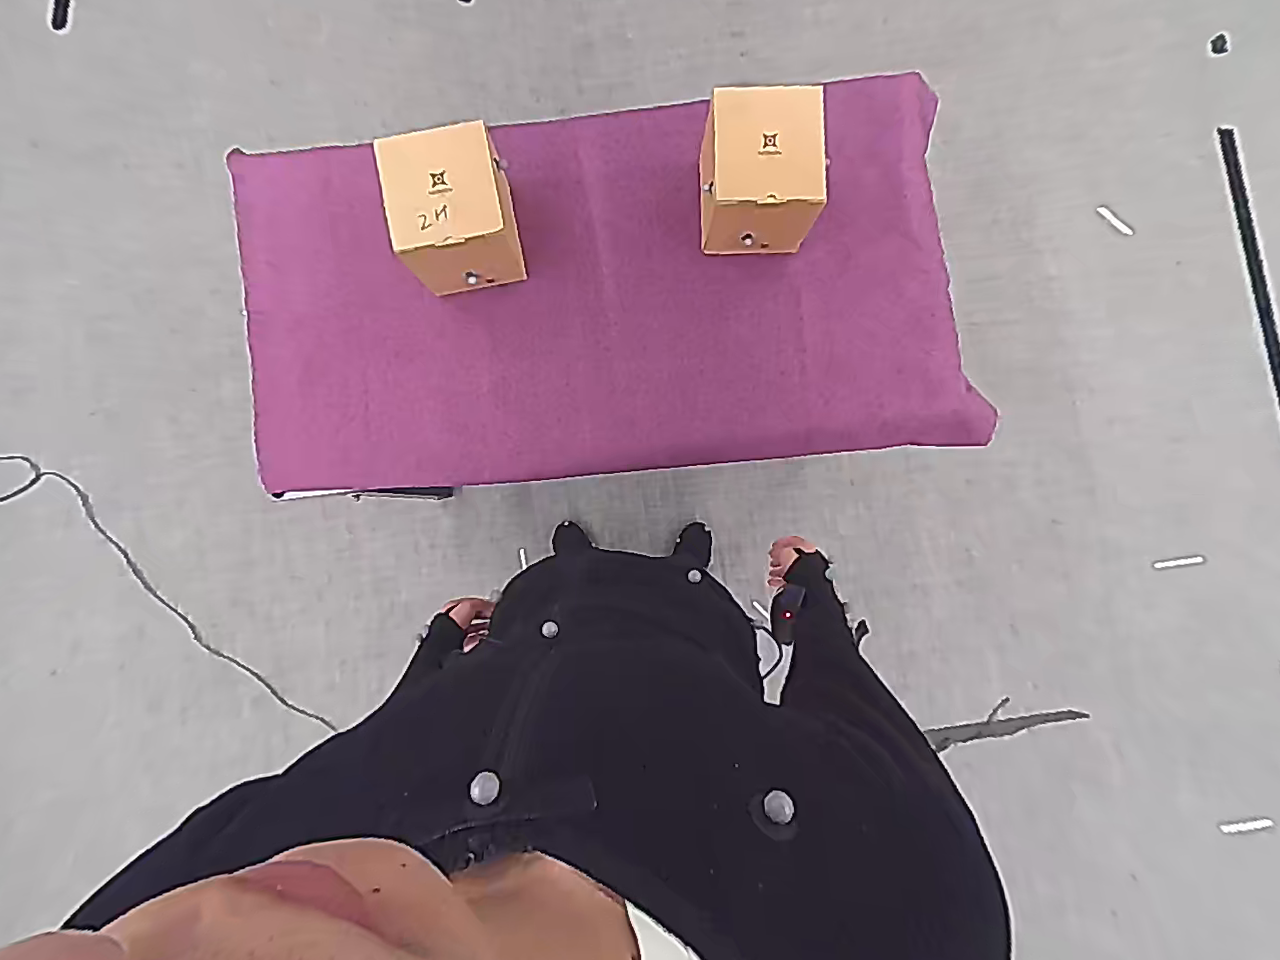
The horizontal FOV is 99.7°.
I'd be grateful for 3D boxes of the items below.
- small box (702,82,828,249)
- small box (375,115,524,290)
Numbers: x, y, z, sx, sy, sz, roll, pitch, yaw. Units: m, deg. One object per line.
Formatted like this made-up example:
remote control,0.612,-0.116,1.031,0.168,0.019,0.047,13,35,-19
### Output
small box,0.192,-0.496,0.871,0.168,0.176,0.179,-1,88,0
small box,-0.292,-0.430,0.862,0.168,0.176,0.179,-11,87,-1
